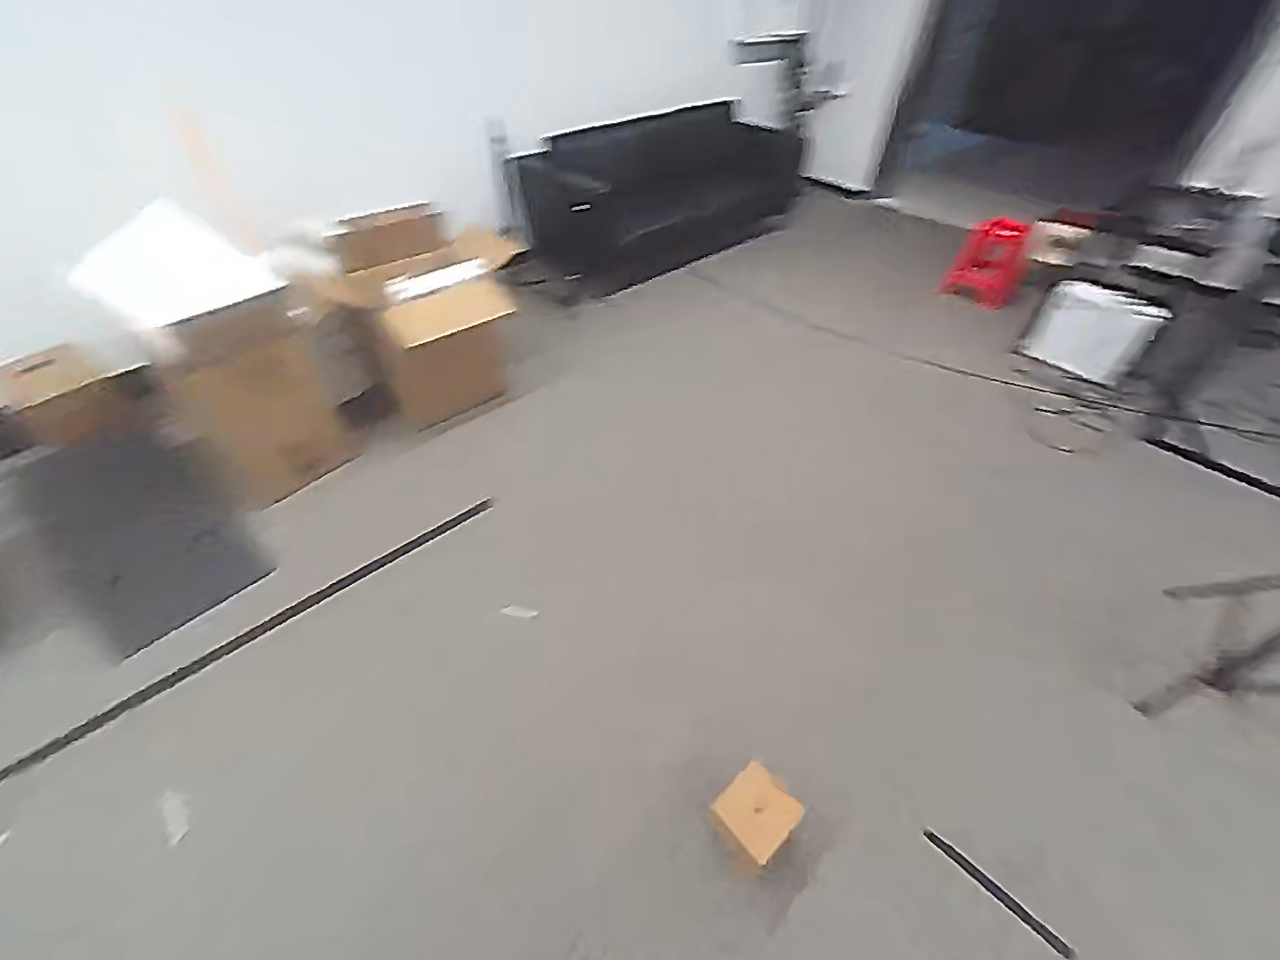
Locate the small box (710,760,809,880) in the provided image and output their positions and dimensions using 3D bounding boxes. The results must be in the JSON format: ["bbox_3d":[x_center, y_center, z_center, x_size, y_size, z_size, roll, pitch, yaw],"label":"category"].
[{"bbox_3d":[0.295,0.864,1.376,0.179,0.176,0.168,-29,50,-29],"label":"small box"}]
